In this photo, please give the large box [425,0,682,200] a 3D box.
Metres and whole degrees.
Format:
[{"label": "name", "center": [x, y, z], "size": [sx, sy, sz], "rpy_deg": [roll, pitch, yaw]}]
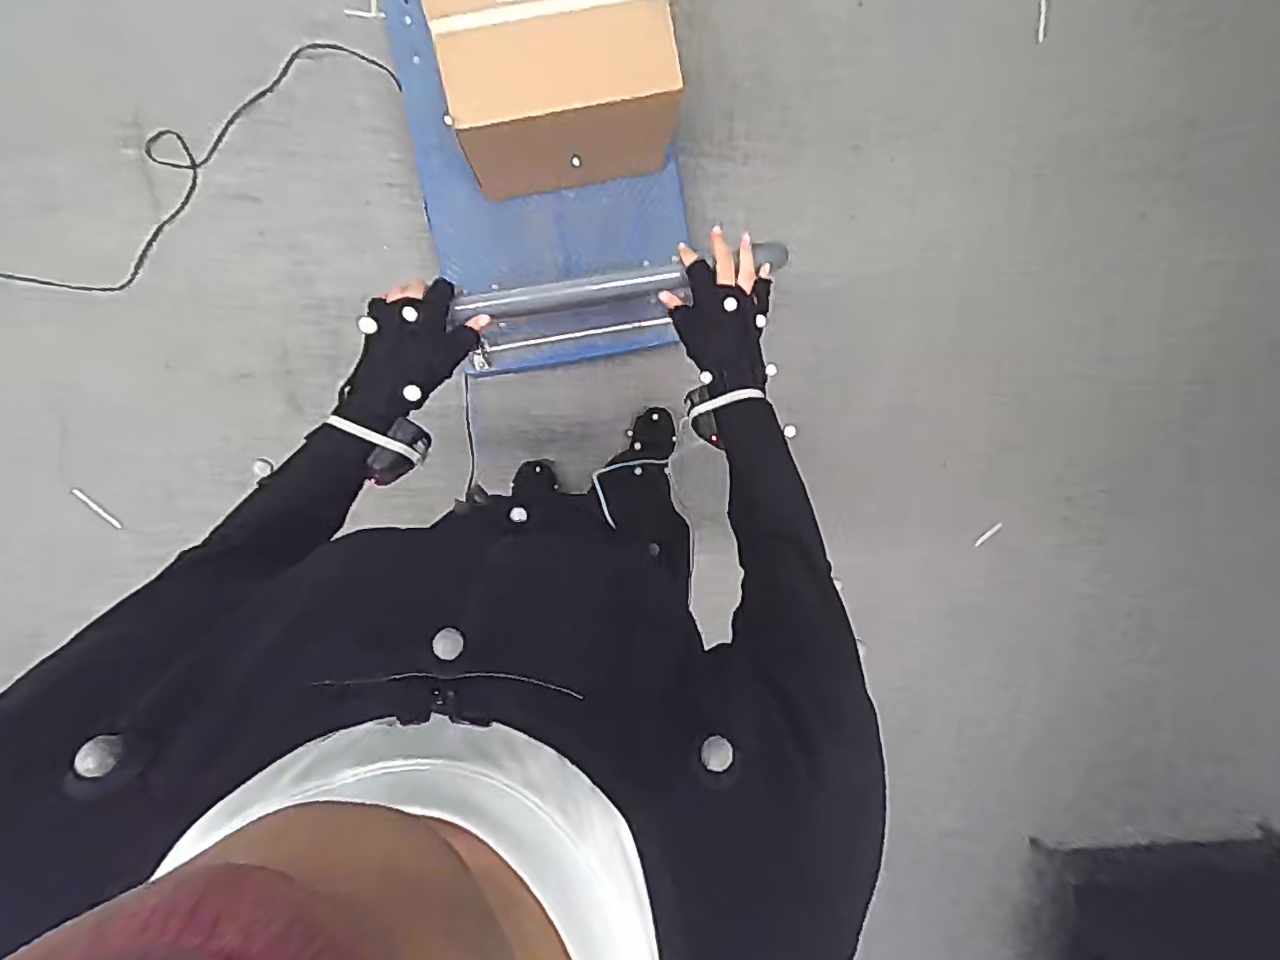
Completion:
[{"label": "large box", "center": [-0.159, -0.797, 1.060], "size": [0.408, 0.320, 0.320], "rpy_deg": [-12, 96, -3]}]
